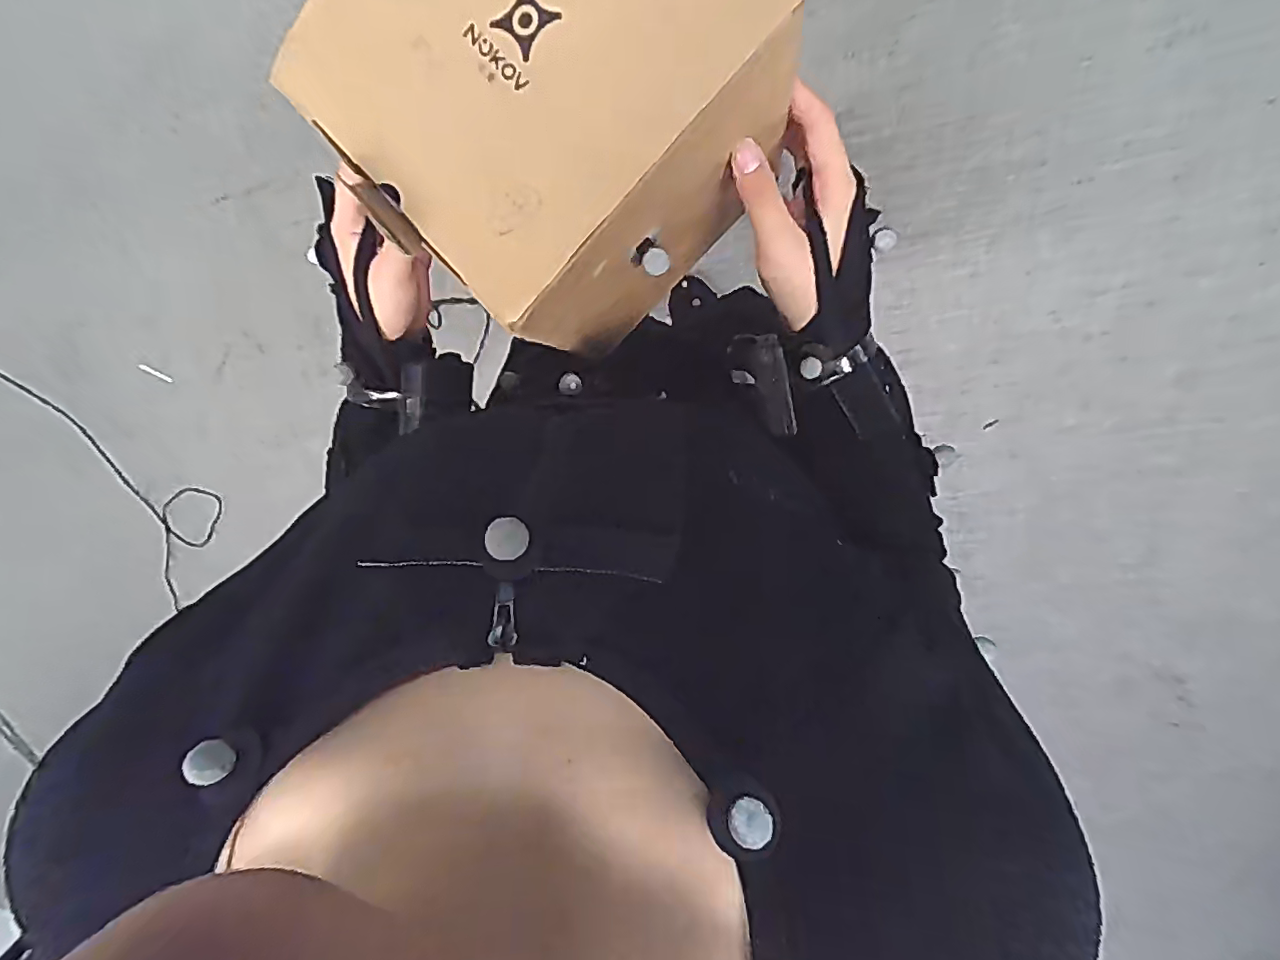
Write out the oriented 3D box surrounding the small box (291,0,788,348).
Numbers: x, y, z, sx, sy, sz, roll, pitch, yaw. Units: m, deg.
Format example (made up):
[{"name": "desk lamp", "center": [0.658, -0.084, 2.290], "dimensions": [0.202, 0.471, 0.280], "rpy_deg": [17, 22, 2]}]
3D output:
[{"name": "small box", "center": [-0.037, -0.196, 0.312], "dimensions": [0.179, 0.176, 0.168], "rpy_deg": [-44, 89, 14]}]
